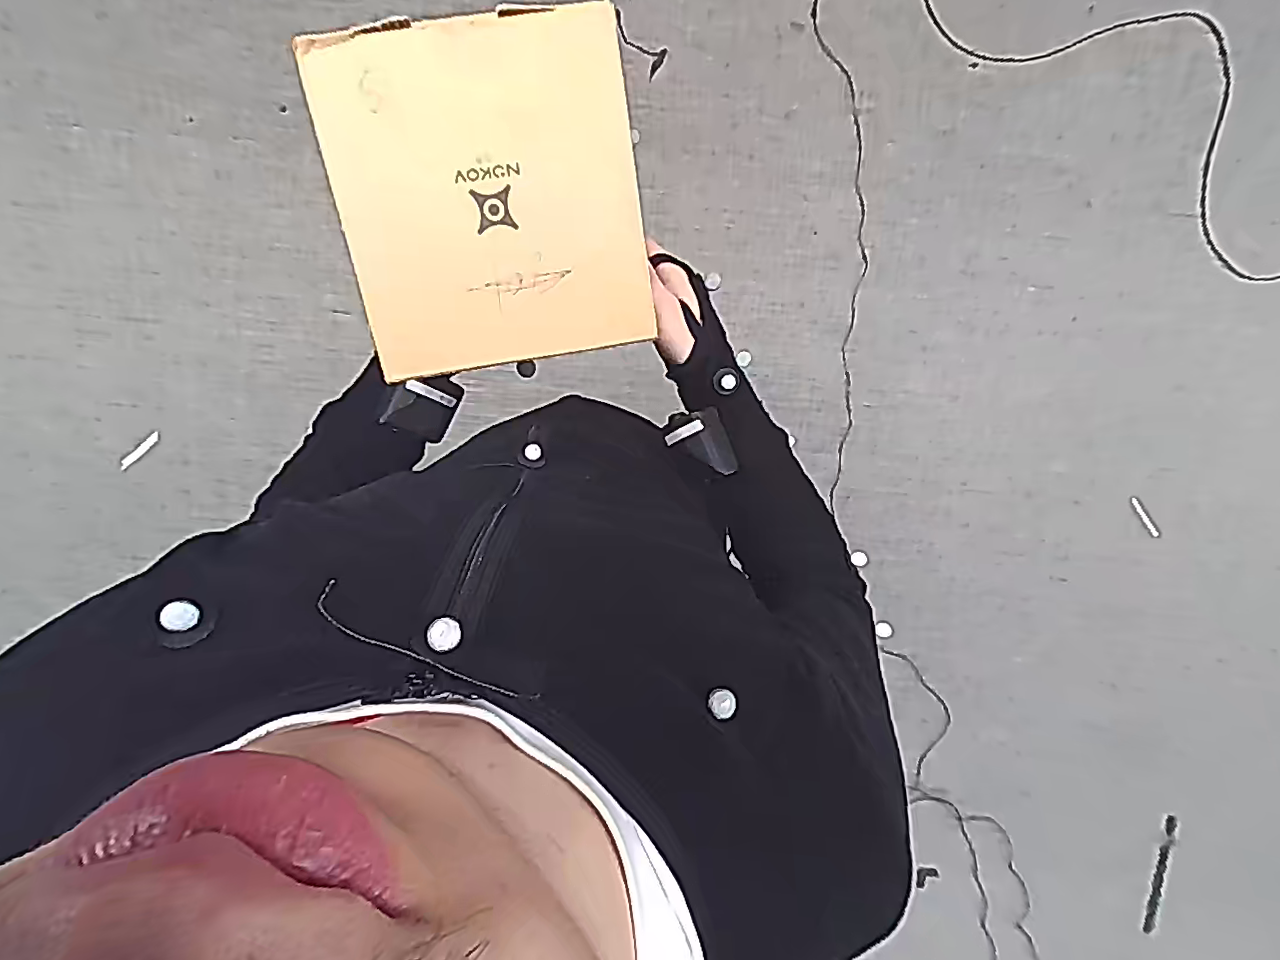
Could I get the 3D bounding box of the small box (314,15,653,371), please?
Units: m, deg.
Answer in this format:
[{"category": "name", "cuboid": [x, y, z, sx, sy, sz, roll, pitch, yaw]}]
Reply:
[{"category": "small box", "cuboid": [-0.091, -0.180, 0.388, 0.168, 0.176, 0.179, -9, 106, -4]}]
